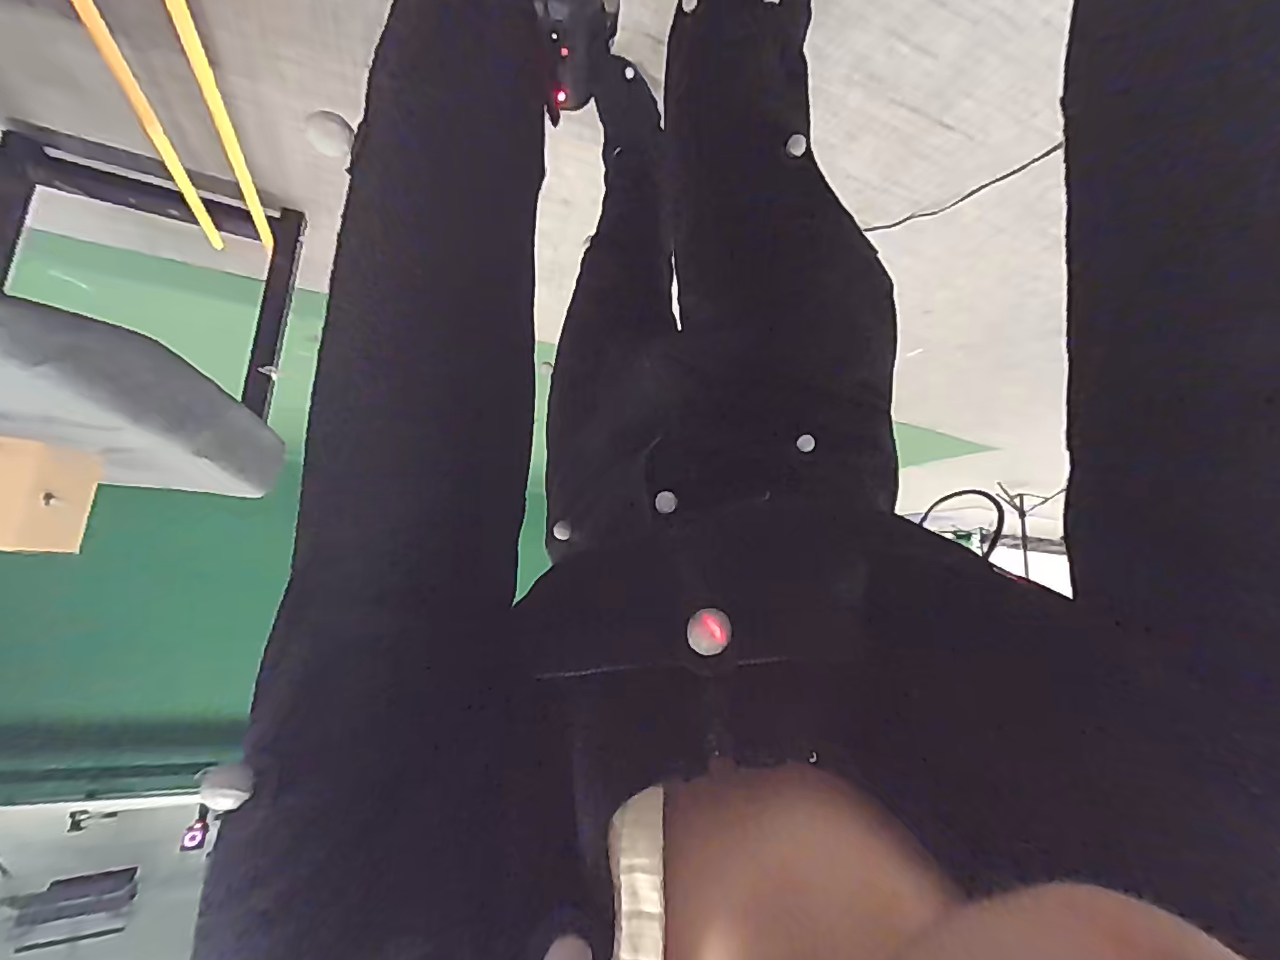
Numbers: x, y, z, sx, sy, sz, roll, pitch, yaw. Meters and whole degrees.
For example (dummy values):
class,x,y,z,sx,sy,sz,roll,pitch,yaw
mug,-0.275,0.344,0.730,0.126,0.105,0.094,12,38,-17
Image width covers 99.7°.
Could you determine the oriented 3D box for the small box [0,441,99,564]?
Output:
class,x,y,z,sx,sy,sz,roll,pitch,yaw
small box,-0.950,0.029,0.786,0.168,0.176,0.179,10,167,-22
